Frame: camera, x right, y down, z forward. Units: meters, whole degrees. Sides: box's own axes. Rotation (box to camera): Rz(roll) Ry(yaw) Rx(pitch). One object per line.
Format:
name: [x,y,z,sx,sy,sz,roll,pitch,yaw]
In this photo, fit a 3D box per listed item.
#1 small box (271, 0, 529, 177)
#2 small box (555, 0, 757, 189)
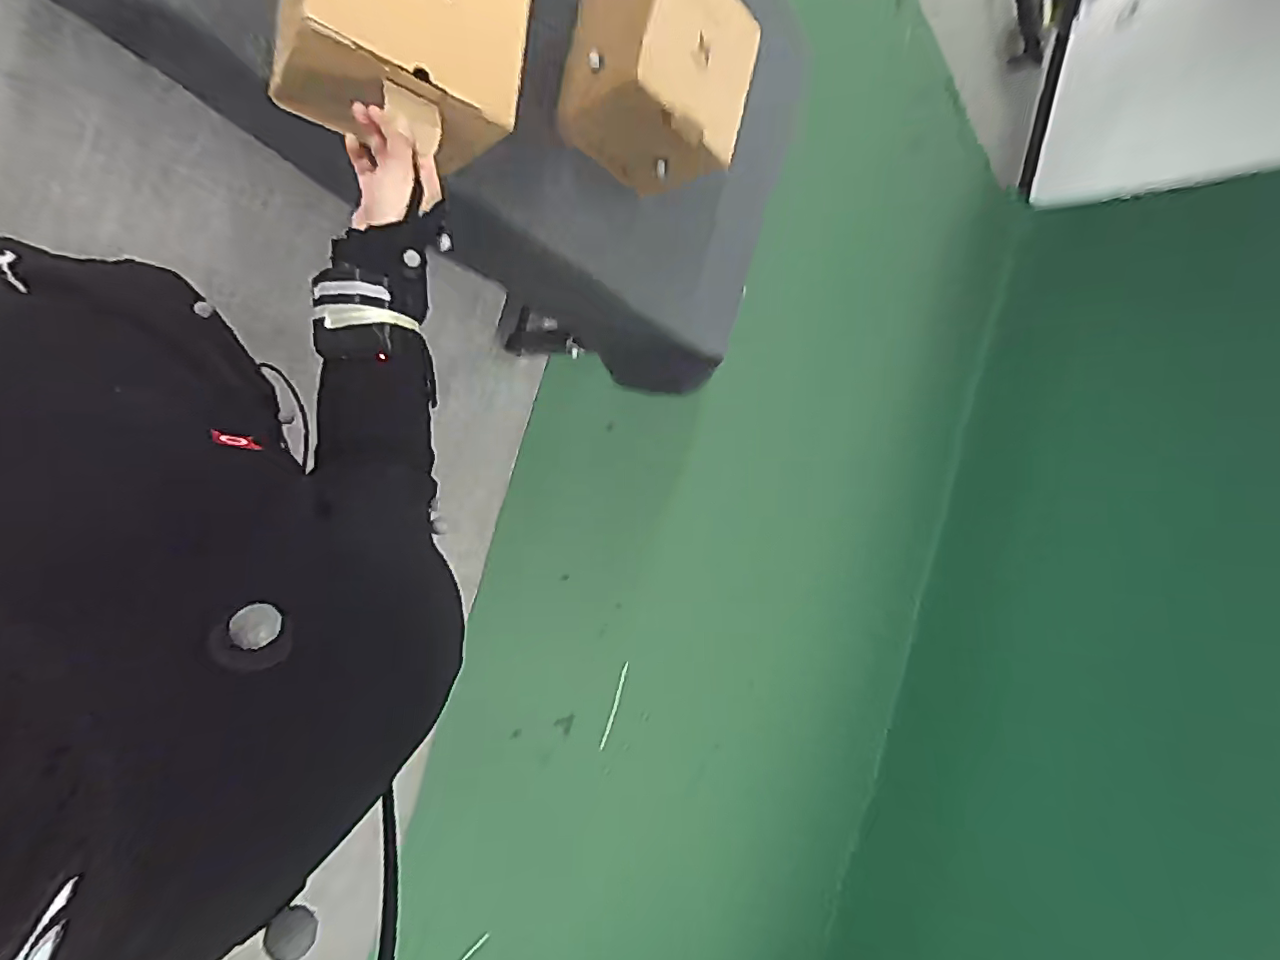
small box: [-0.216,-0.407,0.481,0.168,0.176,0.179,2,99,-42]
small box: [0.016,-0.499,0.673,0.168,0.176,0.179,13,89,-44]
